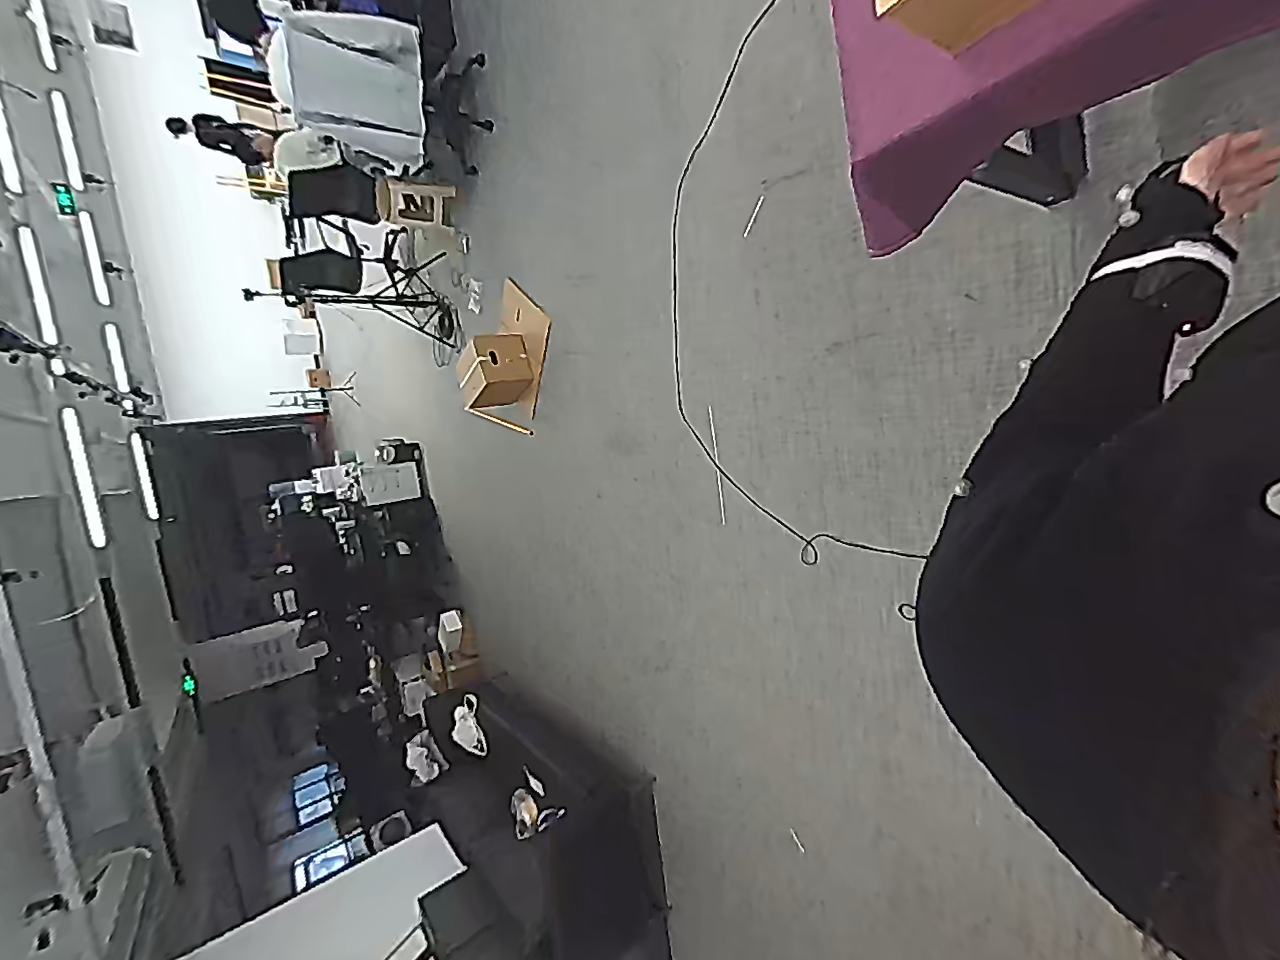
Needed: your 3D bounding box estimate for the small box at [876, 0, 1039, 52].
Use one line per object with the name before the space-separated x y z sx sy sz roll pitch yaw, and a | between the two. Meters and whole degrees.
small box | 0.370 -0.612 0.577 0.179 0.176 0.168 -3 97 53
